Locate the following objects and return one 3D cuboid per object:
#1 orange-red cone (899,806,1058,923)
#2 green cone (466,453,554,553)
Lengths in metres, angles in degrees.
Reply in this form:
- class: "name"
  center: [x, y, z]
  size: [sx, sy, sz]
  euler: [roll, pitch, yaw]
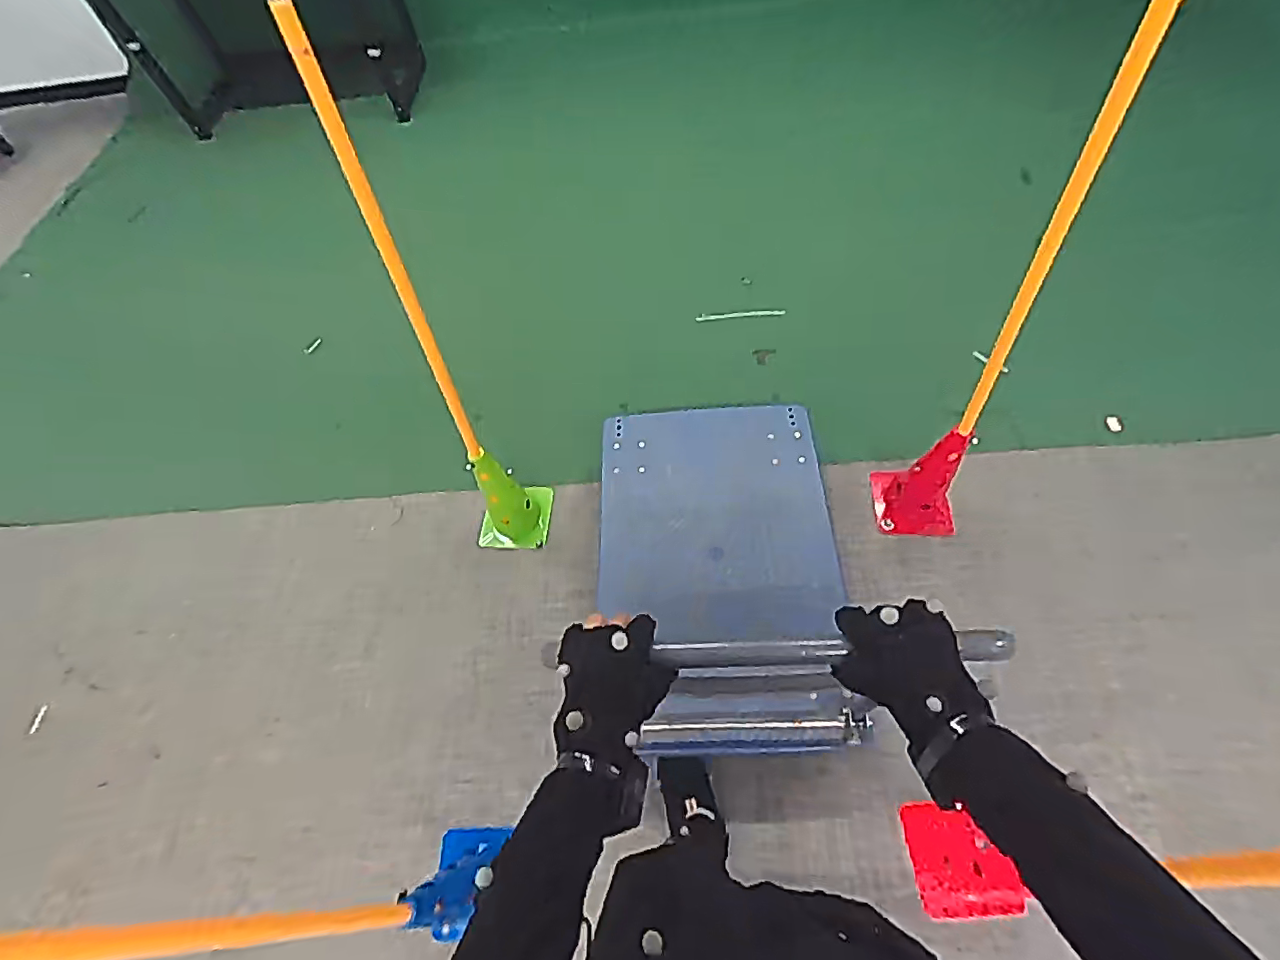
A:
- class: "orange-red cone"
  center: [0.639, 0.706, 0.977]
  size: [0.199, 0.360, 0.198]
  euler: [-5, 59, 5]
- class: "green cone"
  center: [-0.383, 0.037, 1.476]
  size: [0.202, 0.368, 0.200]
  euler: [0, 59, 7]
